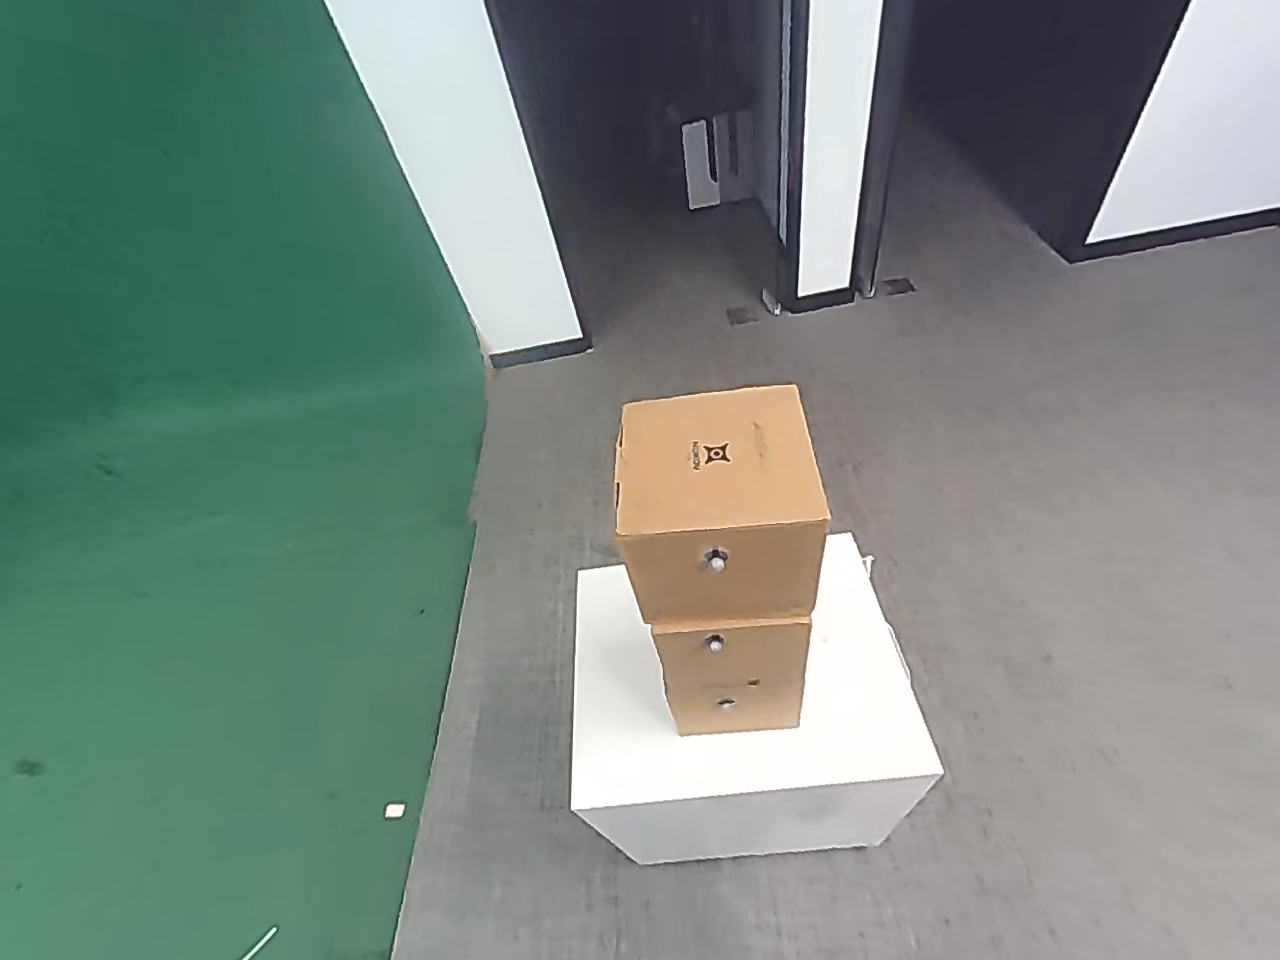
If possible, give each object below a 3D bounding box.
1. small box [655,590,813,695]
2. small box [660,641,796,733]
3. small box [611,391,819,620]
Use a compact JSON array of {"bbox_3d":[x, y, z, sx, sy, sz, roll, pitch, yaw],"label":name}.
[{"bbox_3d":[0.106,0.145,0.674,0.168,0.176,0.179,-7,48,5],"label":"small box"},{"bbox_3d":[0.126,0.256,0.789,0.179,0.176,0.168,-7,47,6],"label":"small box"},{"bbox_3d":[0.076,0.032,0.557,0.179,0.176,0.168,-5,49,7],"label":"small box"}]
